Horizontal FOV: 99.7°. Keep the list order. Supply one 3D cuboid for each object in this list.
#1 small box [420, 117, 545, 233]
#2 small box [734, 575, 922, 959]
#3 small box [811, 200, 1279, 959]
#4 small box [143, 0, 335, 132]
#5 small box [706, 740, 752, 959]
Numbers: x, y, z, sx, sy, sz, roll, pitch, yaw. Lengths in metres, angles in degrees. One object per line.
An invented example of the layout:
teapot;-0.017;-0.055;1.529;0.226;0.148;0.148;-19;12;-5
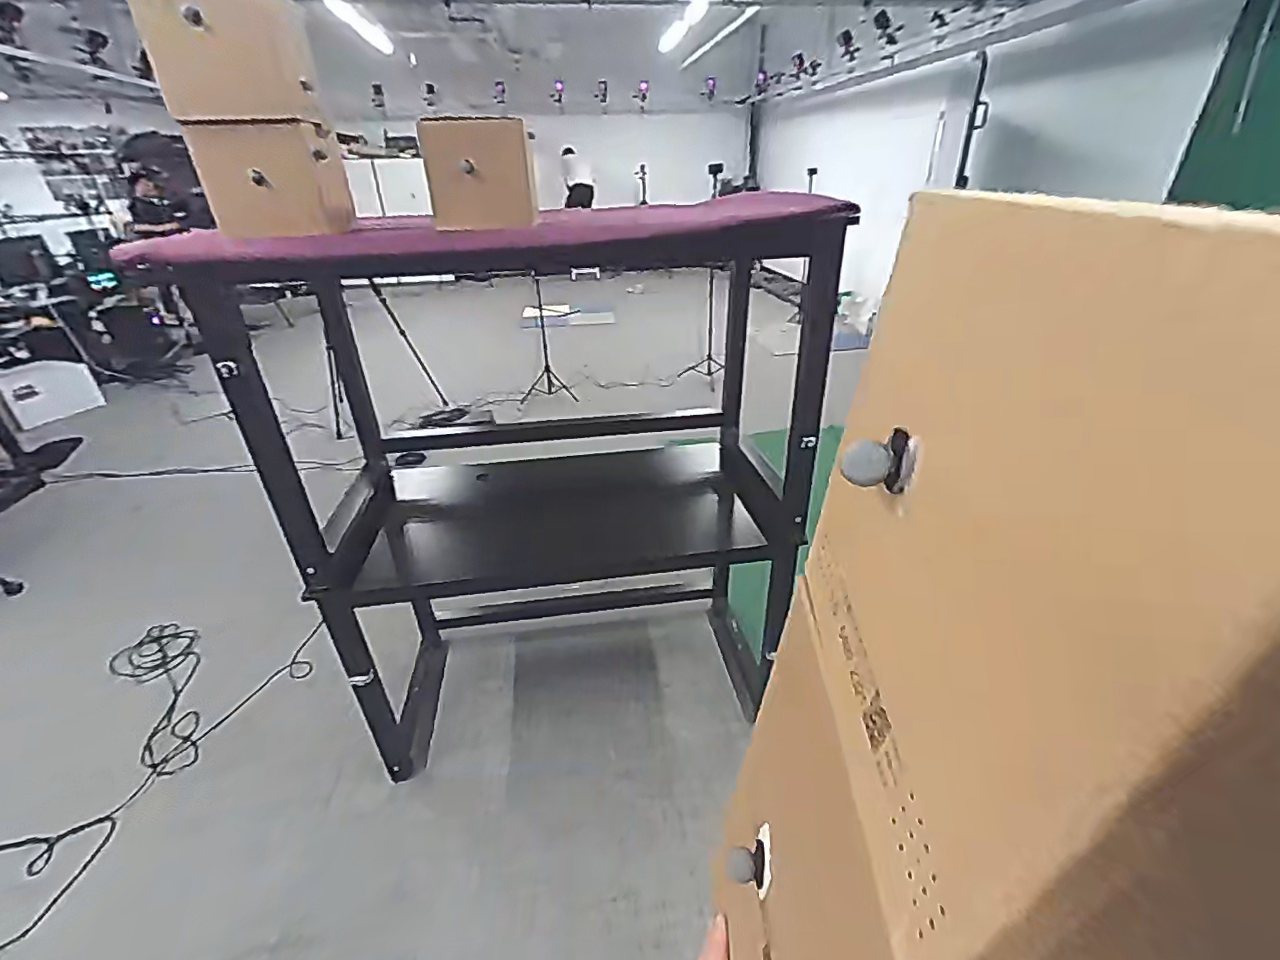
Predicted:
small box;-0.275;-0.550;0.987;0.179;0.176;0.168;-4;30;-4
small box;0.146;0.166;0.233;0.179;0.176;0.168;6;30;2
small box;0.158;0.024;0.155;0.179;0.176;0.168;8;30;3
small box;-0.616;-0.654;0.849;0.179;0.176;0.168;-5;30;-7
small box;0.134;0.297;0.329;0.168;0.176;0.179;7;31;2
